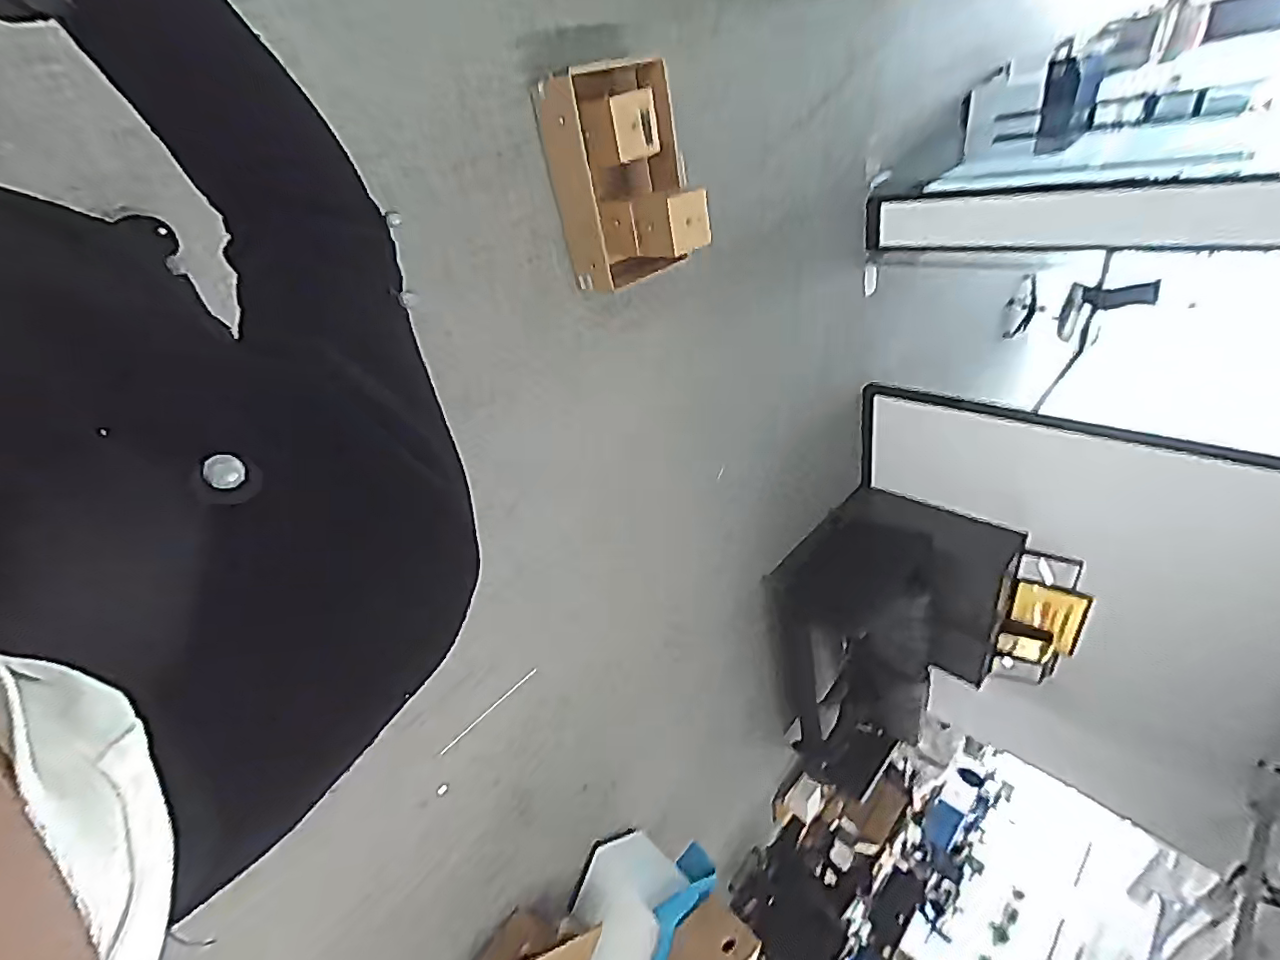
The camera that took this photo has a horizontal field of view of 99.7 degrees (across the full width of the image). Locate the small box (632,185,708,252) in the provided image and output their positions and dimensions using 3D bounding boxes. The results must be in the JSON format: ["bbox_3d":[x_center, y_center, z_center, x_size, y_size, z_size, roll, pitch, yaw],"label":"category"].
[{"bbox_3d":[0.090,-0.834,1.731,0.179,0.176,0.168,-34,129,-31],"label":"small box"}]

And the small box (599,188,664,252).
[{"bbox_3d":[-0.024,-0.883,1.841,0.179,0.176,0.168,-34,128,-31],"label":"small box"}]
